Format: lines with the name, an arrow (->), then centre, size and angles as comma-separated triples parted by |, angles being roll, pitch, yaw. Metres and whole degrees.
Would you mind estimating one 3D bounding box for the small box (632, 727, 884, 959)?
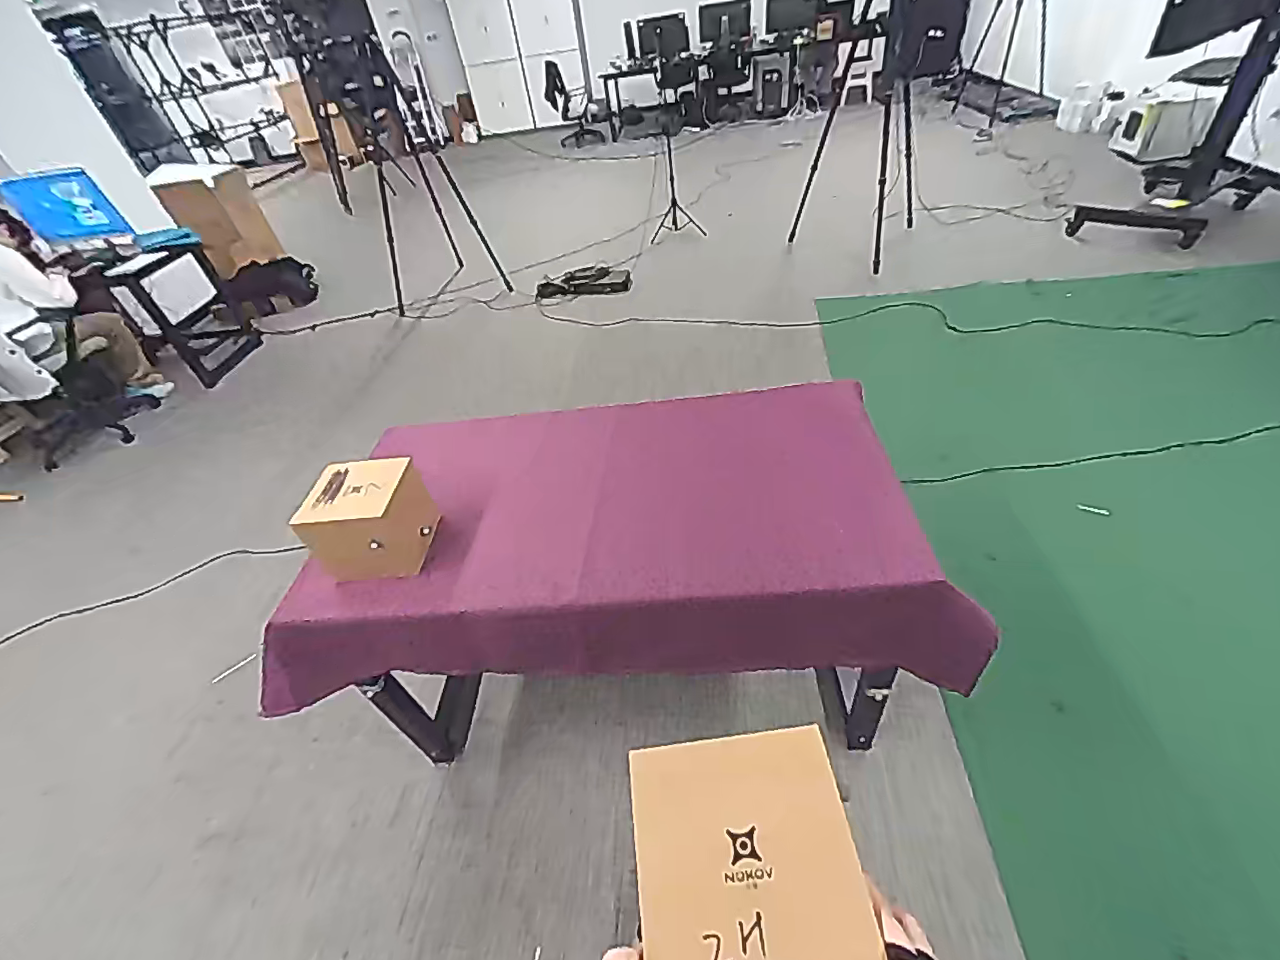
small box -> 0.089, 0.338, 0.467 | 0.168, 0.176, 0.179 | -9, 49, 3
